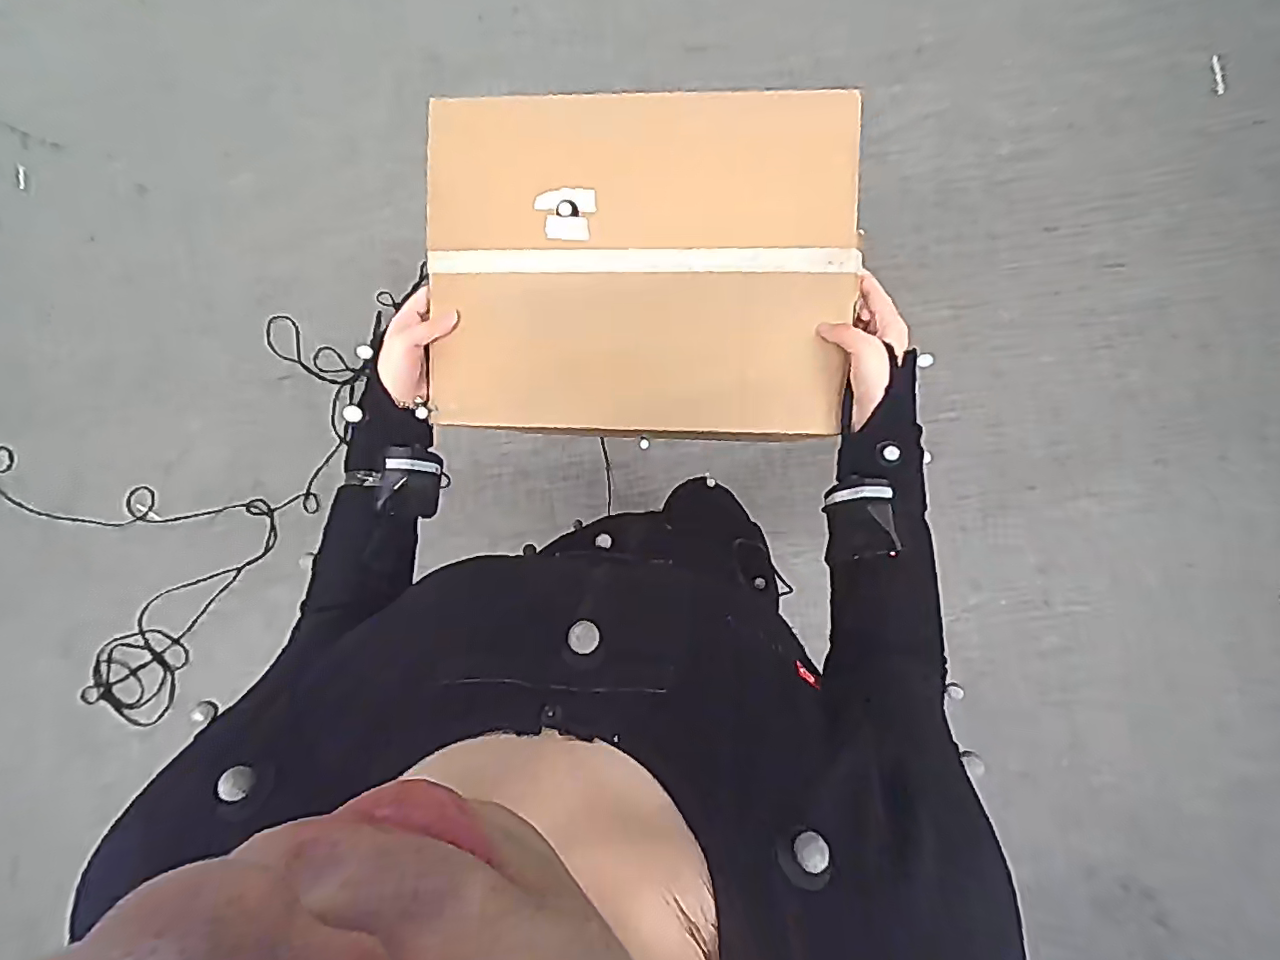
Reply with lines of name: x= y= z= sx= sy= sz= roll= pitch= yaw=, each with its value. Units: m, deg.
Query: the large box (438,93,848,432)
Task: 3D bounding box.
large box: x=0.011 y=-0.216 z=0.674 sx=0.408 sy=0.320 sz=0.320 roll=1 pitch=93 yaw=6
